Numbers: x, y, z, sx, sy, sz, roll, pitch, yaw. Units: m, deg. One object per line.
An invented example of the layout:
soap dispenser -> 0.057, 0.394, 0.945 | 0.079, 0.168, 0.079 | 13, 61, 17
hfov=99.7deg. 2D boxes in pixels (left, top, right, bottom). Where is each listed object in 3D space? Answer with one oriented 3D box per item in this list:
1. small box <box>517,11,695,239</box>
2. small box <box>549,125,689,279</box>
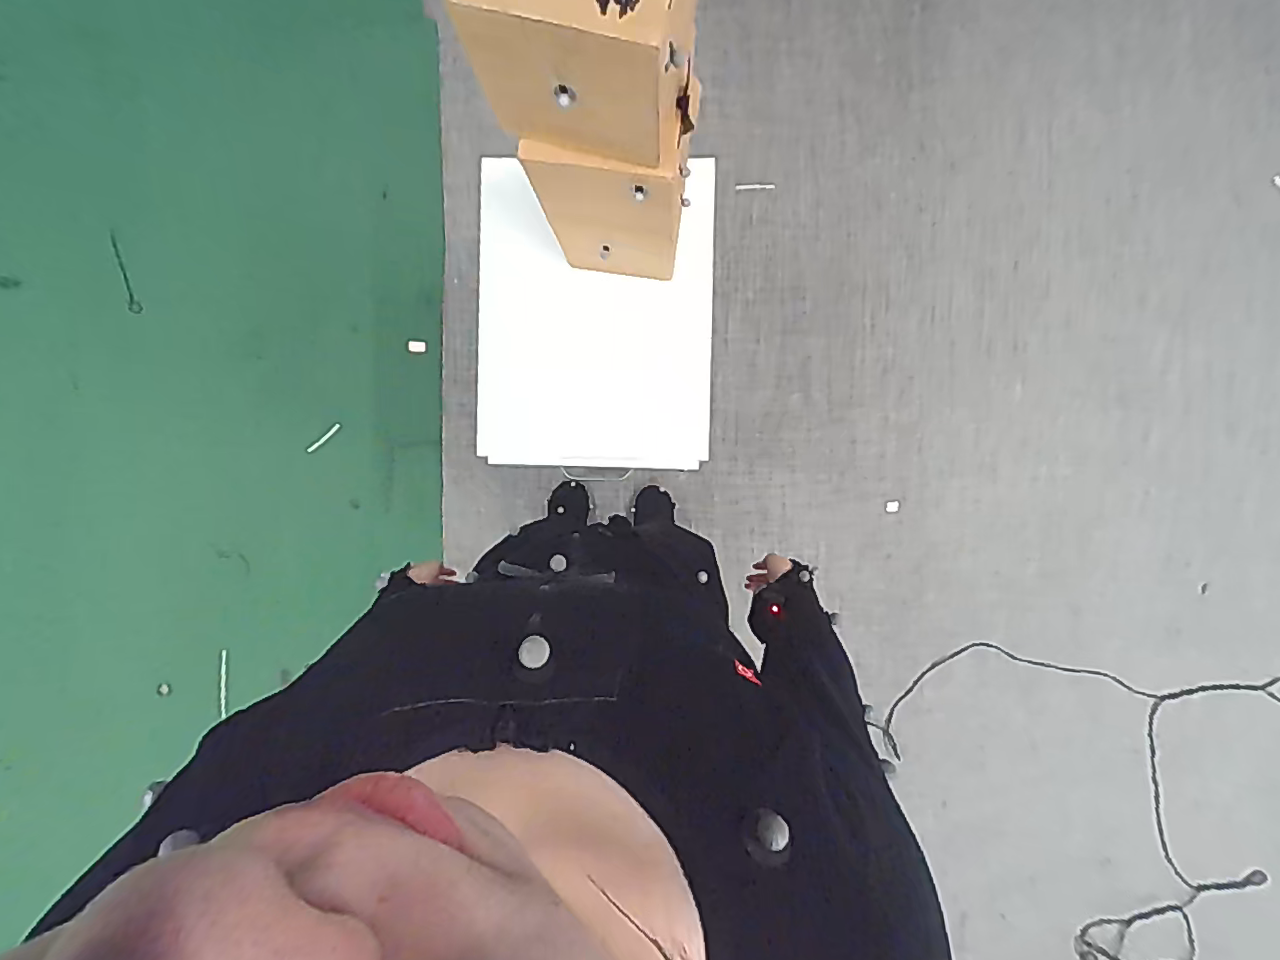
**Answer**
small box -> -0.035, -0.417, 0.663 | 0.179, 0.176, 0.168 | 8, 91, 1
small box -> -0.026, -0.423, 0.825 | 0.179, 0.176, 0.168 | 9, 92, 2
